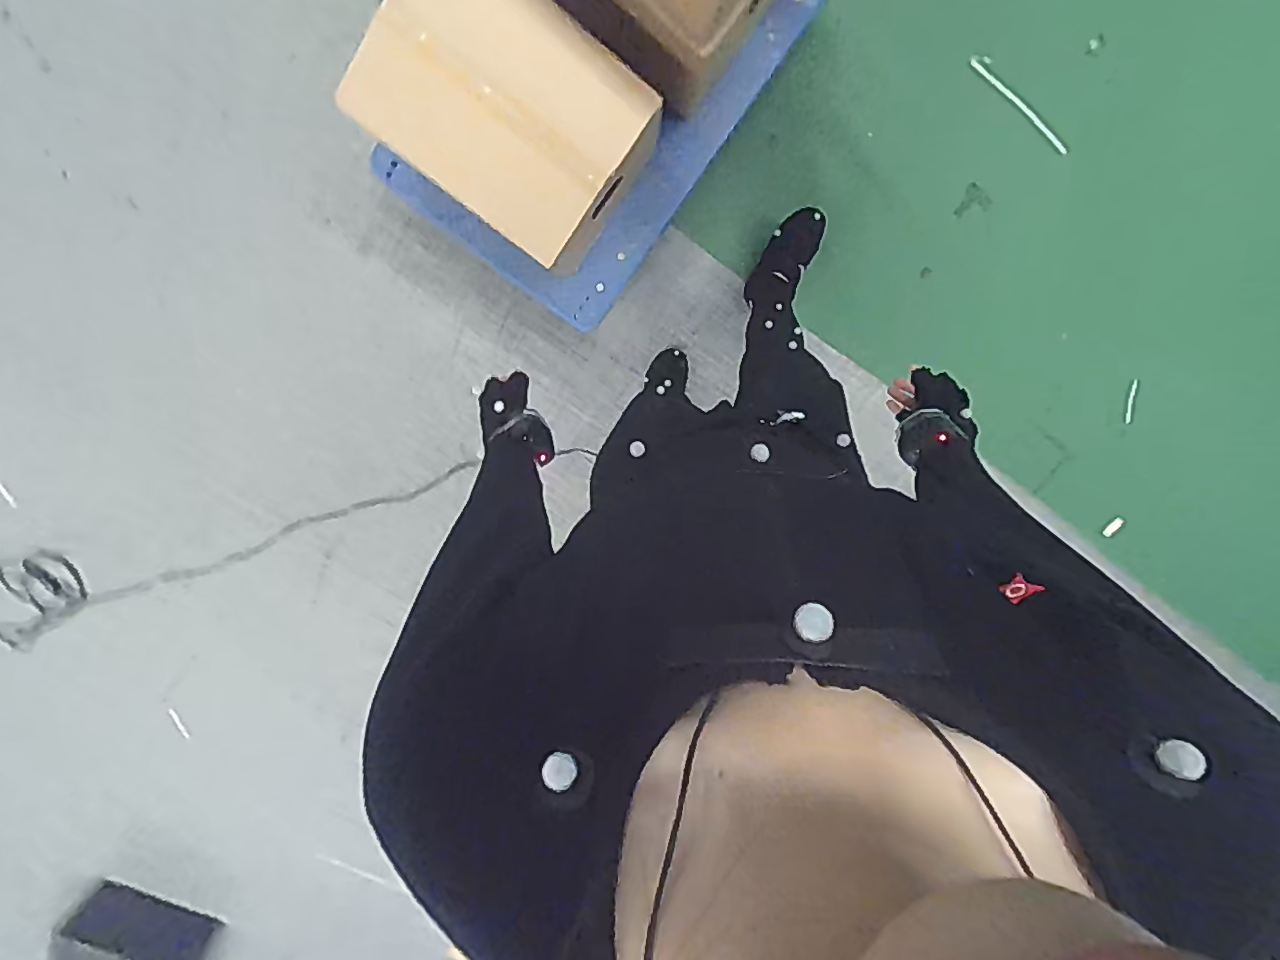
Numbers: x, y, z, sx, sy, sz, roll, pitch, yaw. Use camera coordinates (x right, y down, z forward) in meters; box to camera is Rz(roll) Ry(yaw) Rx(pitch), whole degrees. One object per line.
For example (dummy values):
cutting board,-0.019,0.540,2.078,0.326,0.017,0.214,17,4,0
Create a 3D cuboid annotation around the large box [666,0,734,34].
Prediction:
large box,0.036,-0.824,0.573,0.408,0.320,0.320,38,103,-11
